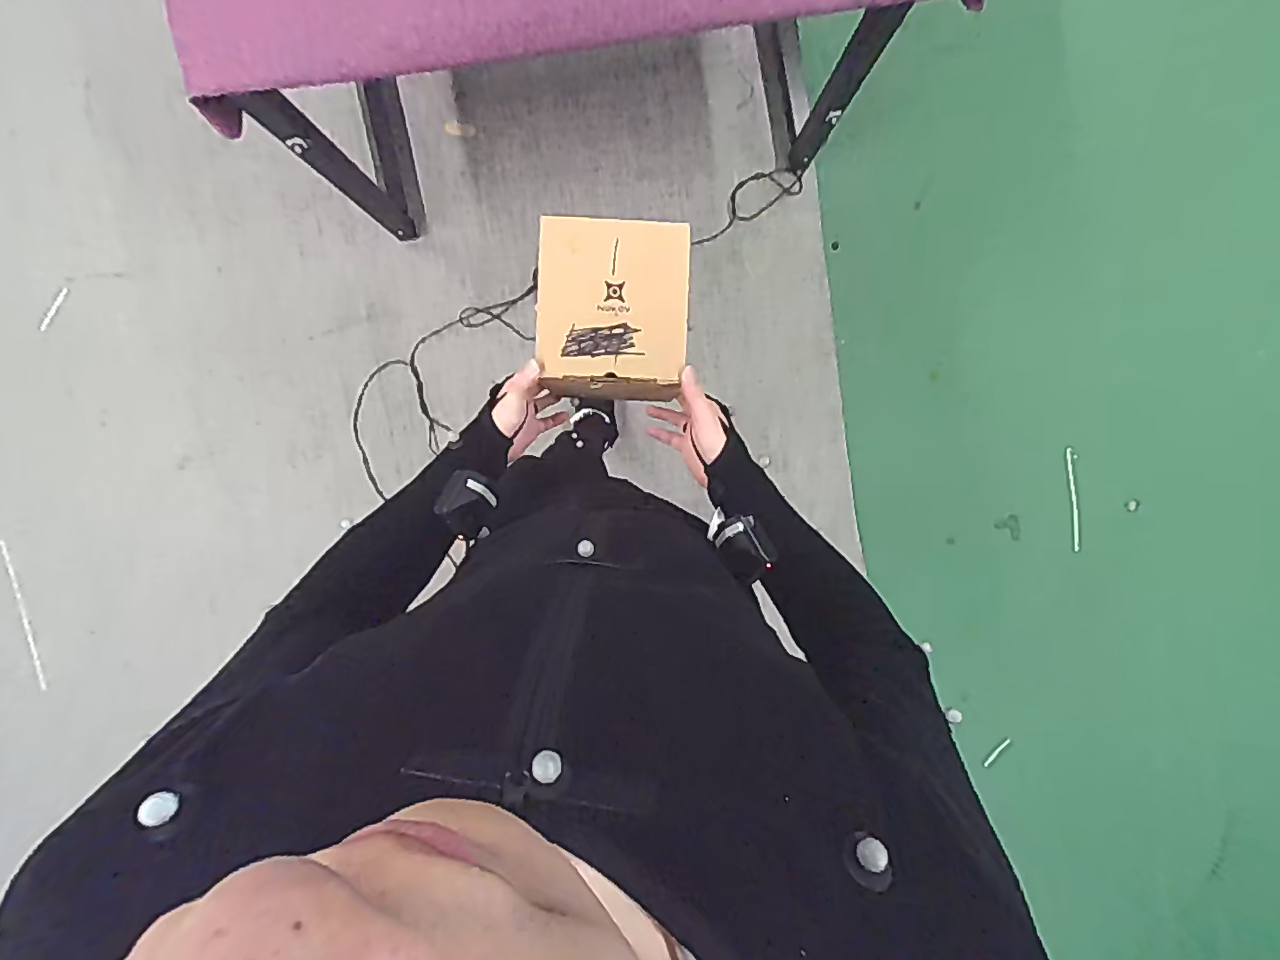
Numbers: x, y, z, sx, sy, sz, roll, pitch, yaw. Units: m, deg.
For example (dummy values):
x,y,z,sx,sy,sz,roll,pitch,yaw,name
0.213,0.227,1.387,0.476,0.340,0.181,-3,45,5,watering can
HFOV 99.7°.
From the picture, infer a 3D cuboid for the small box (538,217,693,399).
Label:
x,y,z,sx,sy,sz,roll,pitch,yaw,name
-0.030,-0.198,0.669,0.168,0.176,0.179,2,91,-3,small box
